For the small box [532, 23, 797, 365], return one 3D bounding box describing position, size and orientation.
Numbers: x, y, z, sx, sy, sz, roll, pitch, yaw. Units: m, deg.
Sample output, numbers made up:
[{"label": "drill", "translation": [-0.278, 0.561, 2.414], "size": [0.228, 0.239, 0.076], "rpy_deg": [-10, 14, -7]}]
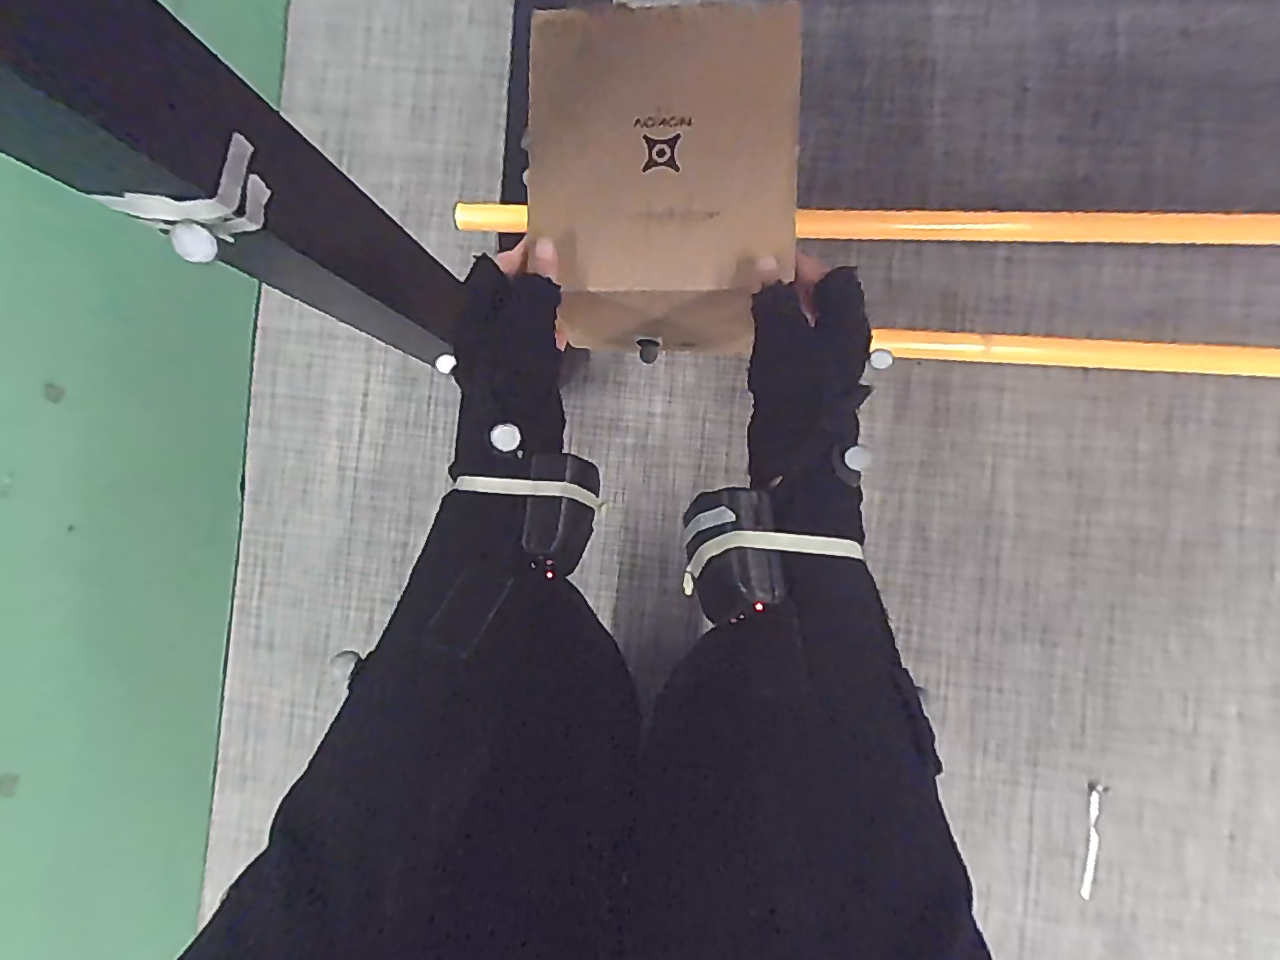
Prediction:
[{"label": "small box", "translation": [0.020, -0.193, 0.415], "size": [0.168, 0.176, 0.179], "rpy_deg": [0, 91, 6]}]
